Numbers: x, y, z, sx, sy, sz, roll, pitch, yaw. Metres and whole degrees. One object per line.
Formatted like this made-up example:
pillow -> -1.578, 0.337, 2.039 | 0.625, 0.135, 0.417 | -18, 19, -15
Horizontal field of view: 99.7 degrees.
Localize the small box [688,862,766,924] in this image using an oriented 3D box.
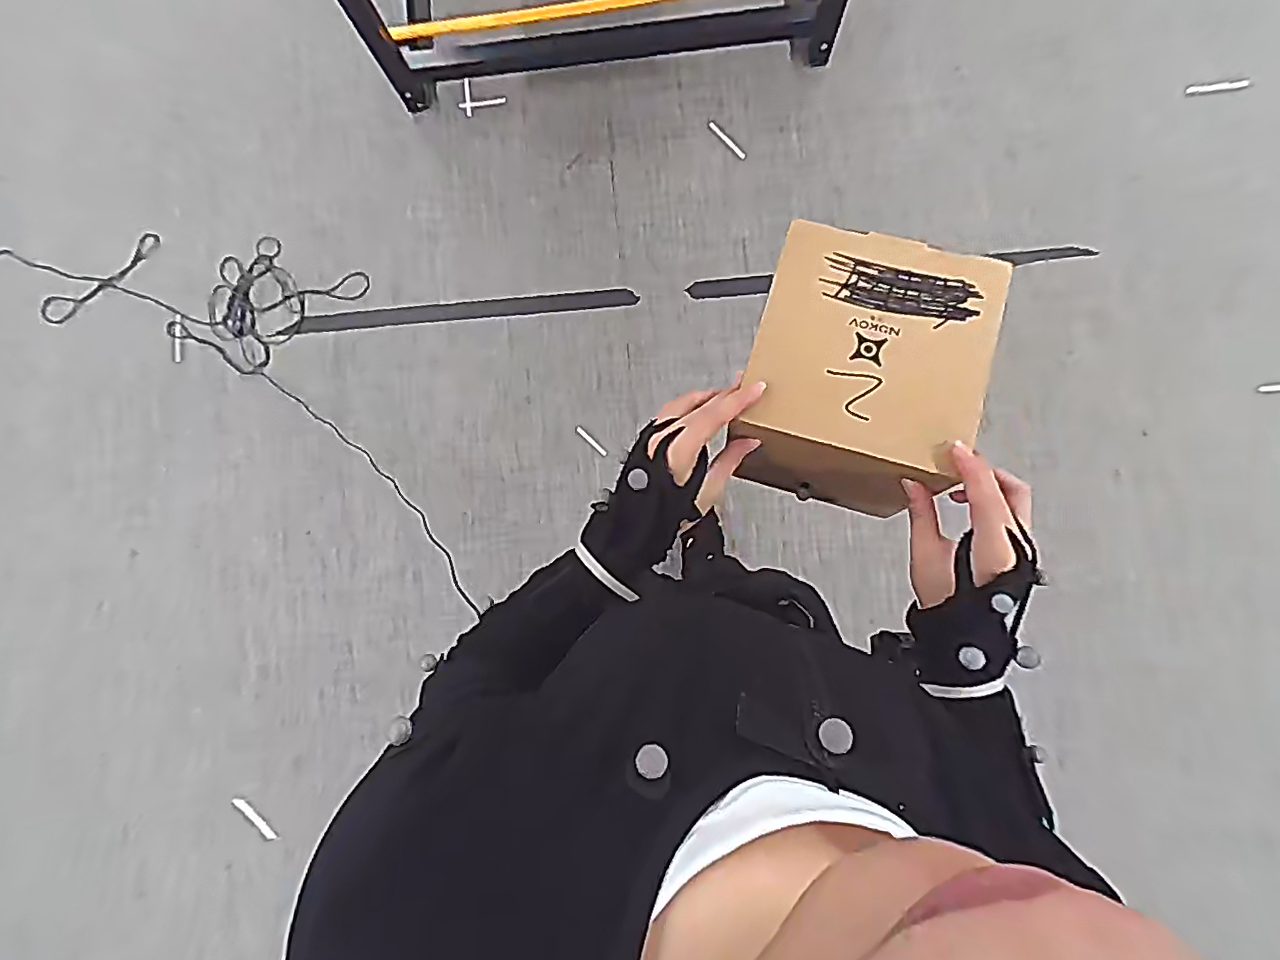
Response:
small box -> 0.198, 1.017, 1.247 | 0.168, 0.176, 0.179 | -3, 86, 3
